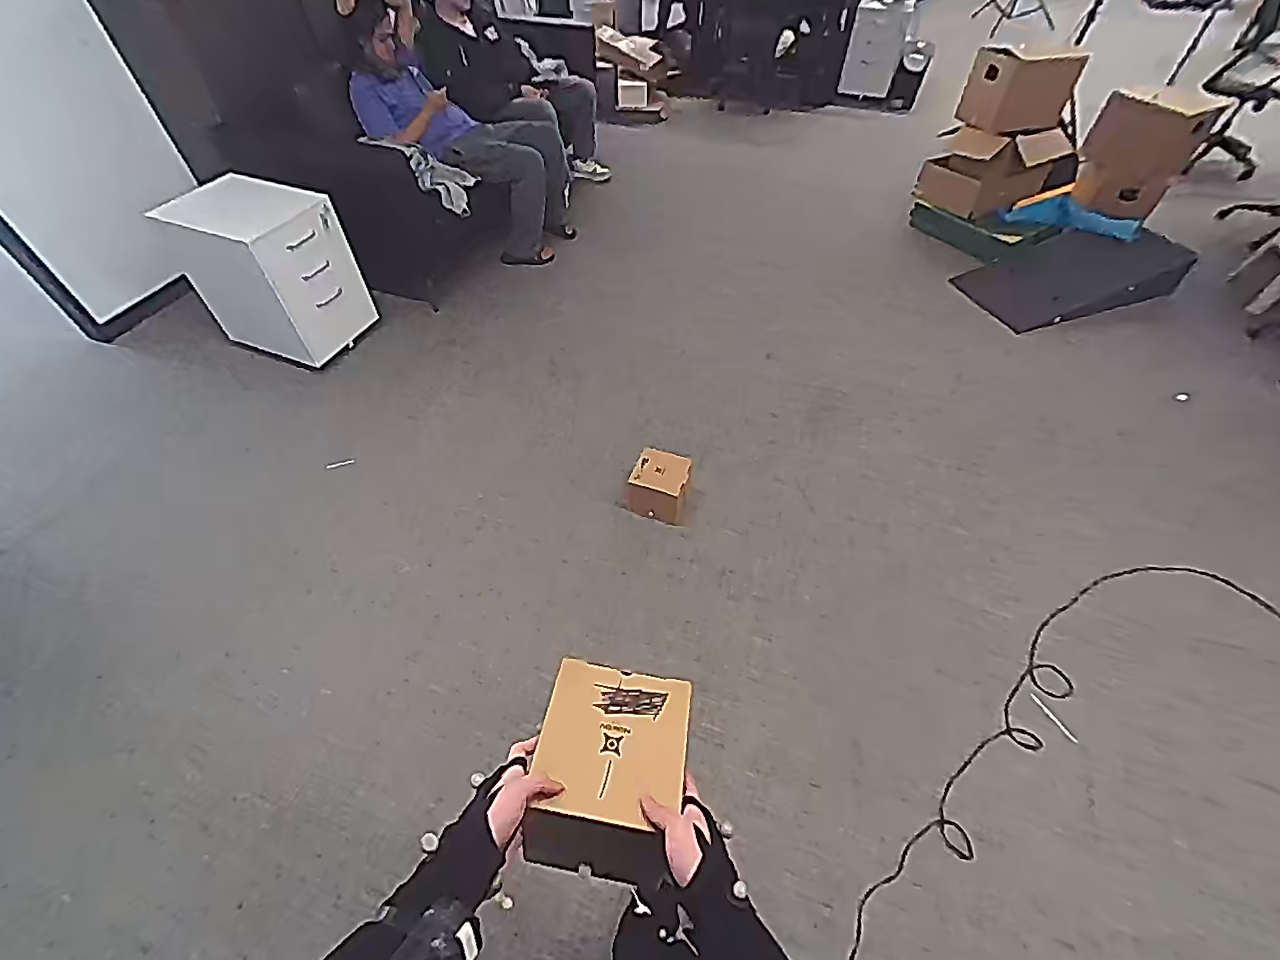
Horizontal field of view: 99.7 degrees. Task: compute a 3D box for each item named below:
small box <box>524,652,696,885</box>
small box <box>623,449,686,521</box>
[{"bbox_3d":[-0.035,0.346,0.656,0.168,0.176,0.179,11,38,5],"label":"small box"},{"bbox_3d":[0.050,0.022,1.870,0.179,0.176,0.168,15,53,11],"label":"small box"}]
